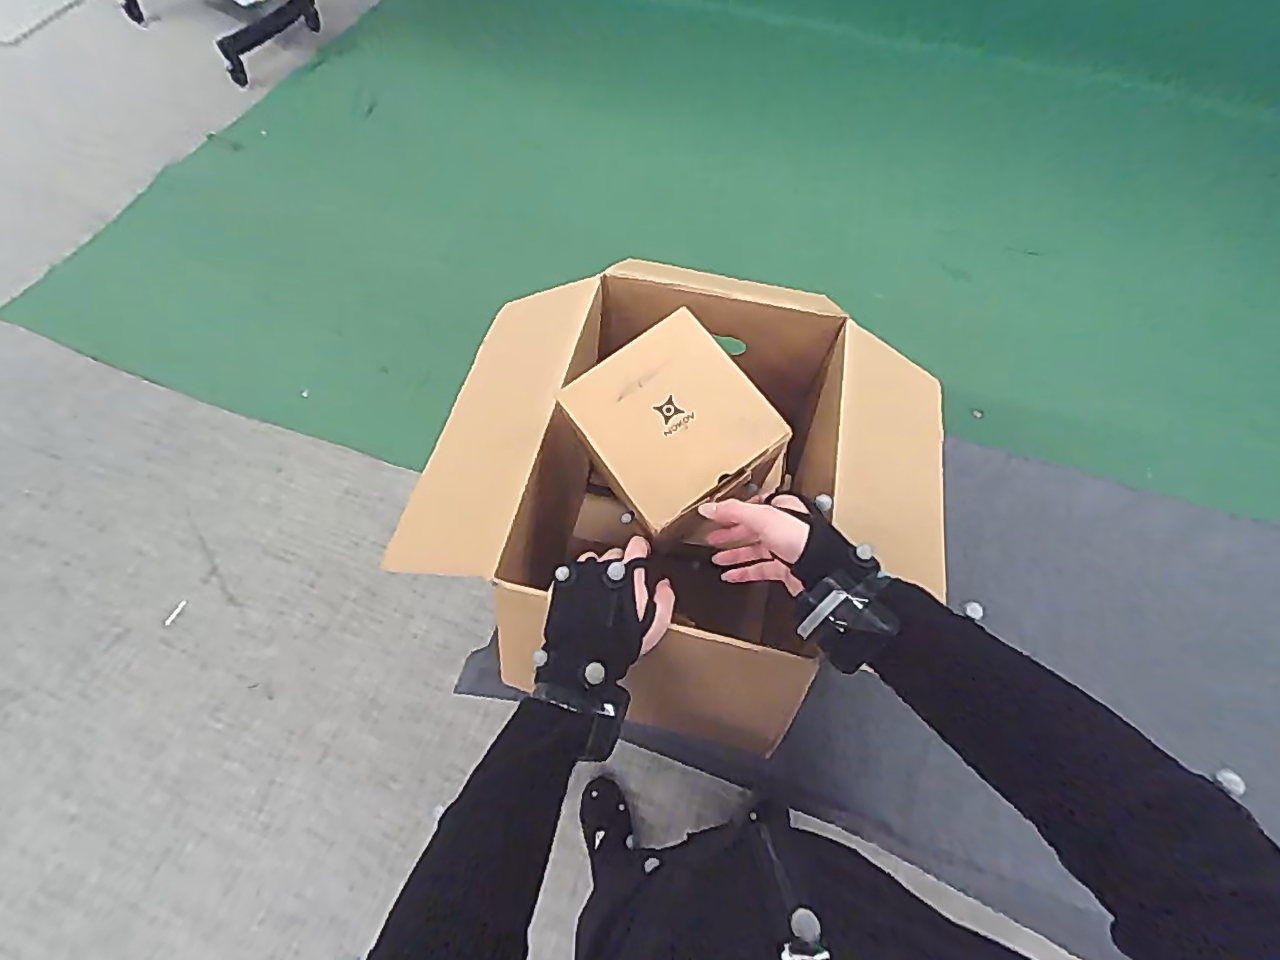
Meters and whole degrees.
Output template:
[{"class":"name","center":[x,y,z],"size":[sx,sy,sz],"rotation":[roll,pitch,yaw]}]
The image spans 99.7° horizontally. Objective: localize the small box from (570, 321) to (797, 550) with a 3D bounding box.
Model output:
[{"class":"small box","center":[0.047,-0.035,0.614],"size":[0.168,0.176,0.179],"rotation":[-34,73,-7]}]
